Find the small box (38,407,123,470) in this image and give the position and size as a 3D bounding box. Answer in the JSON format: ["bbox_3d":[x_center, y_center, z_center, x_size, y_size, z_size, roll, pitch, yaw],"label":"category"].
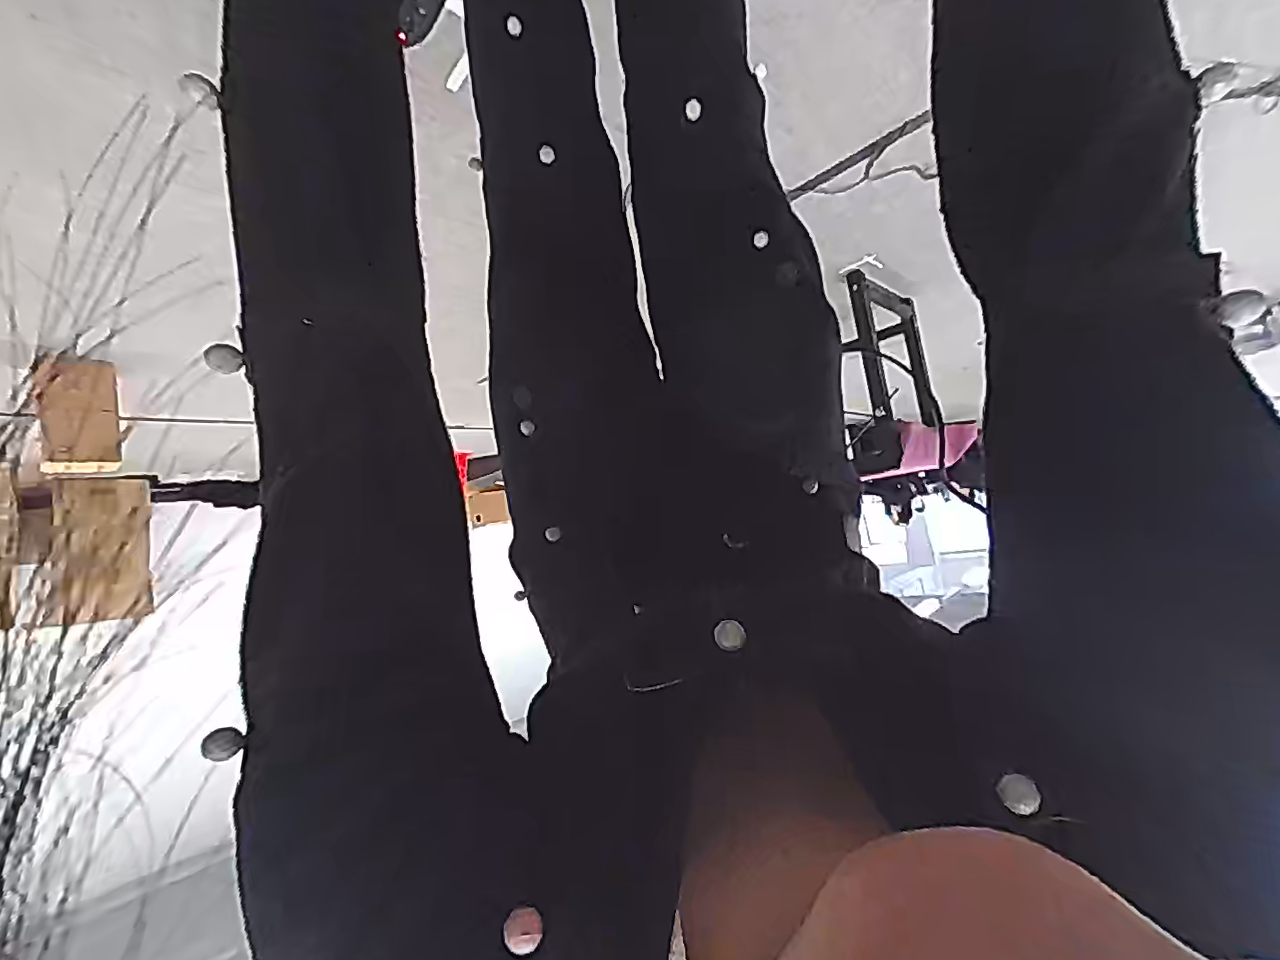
[{"bbox_3d":[-1.785,-0.131,1.723,0.168,0.176,0.179,-12,174,40],"label":"small box"}]
